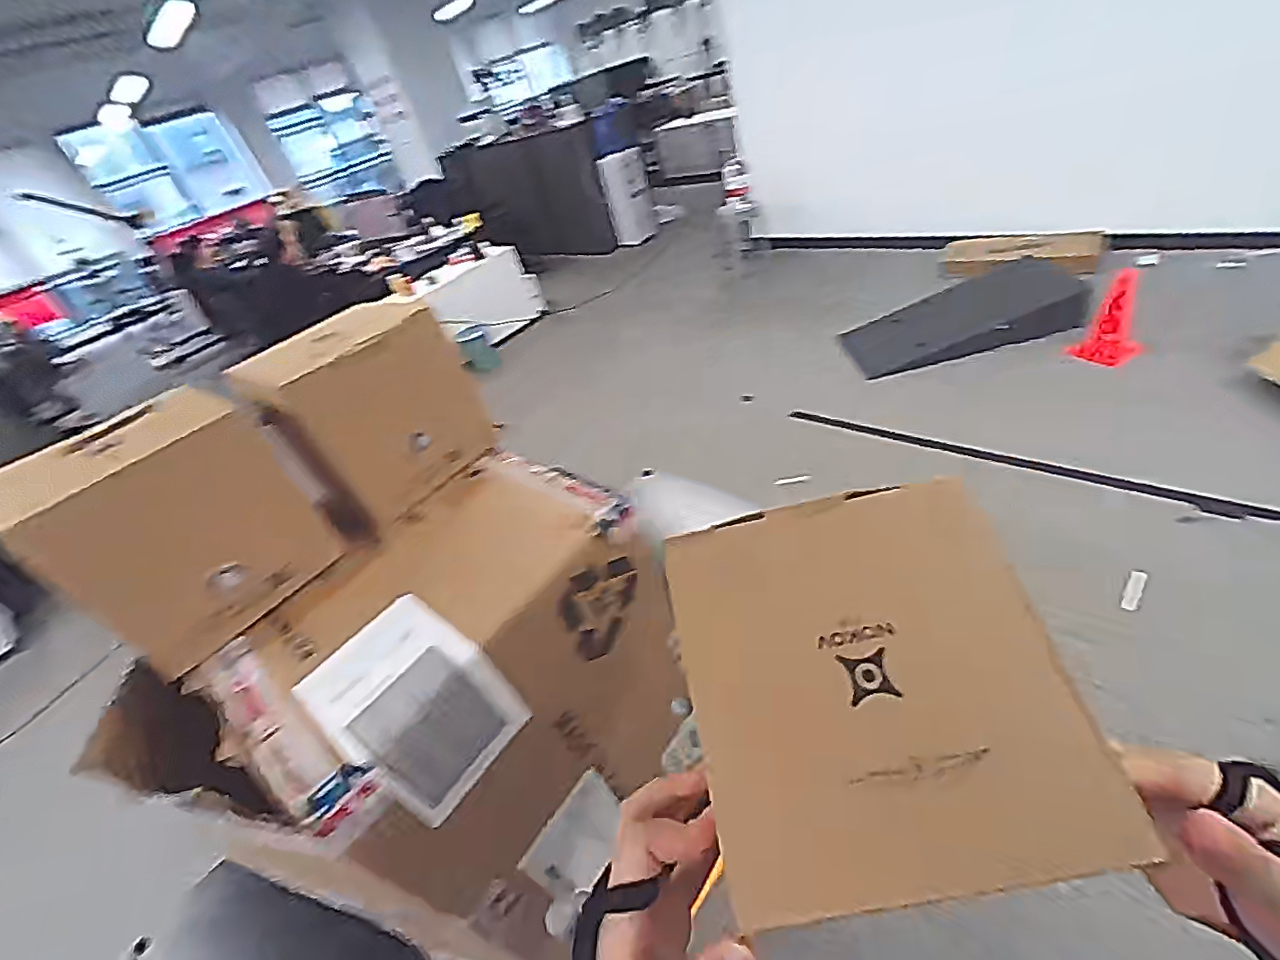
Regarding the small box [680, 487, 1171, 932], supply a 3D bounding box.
[{"bbox_3d":[0.124,0.131,0.322,0.168,0.176,0.179,-13,60,4],"label":"small box"}]
